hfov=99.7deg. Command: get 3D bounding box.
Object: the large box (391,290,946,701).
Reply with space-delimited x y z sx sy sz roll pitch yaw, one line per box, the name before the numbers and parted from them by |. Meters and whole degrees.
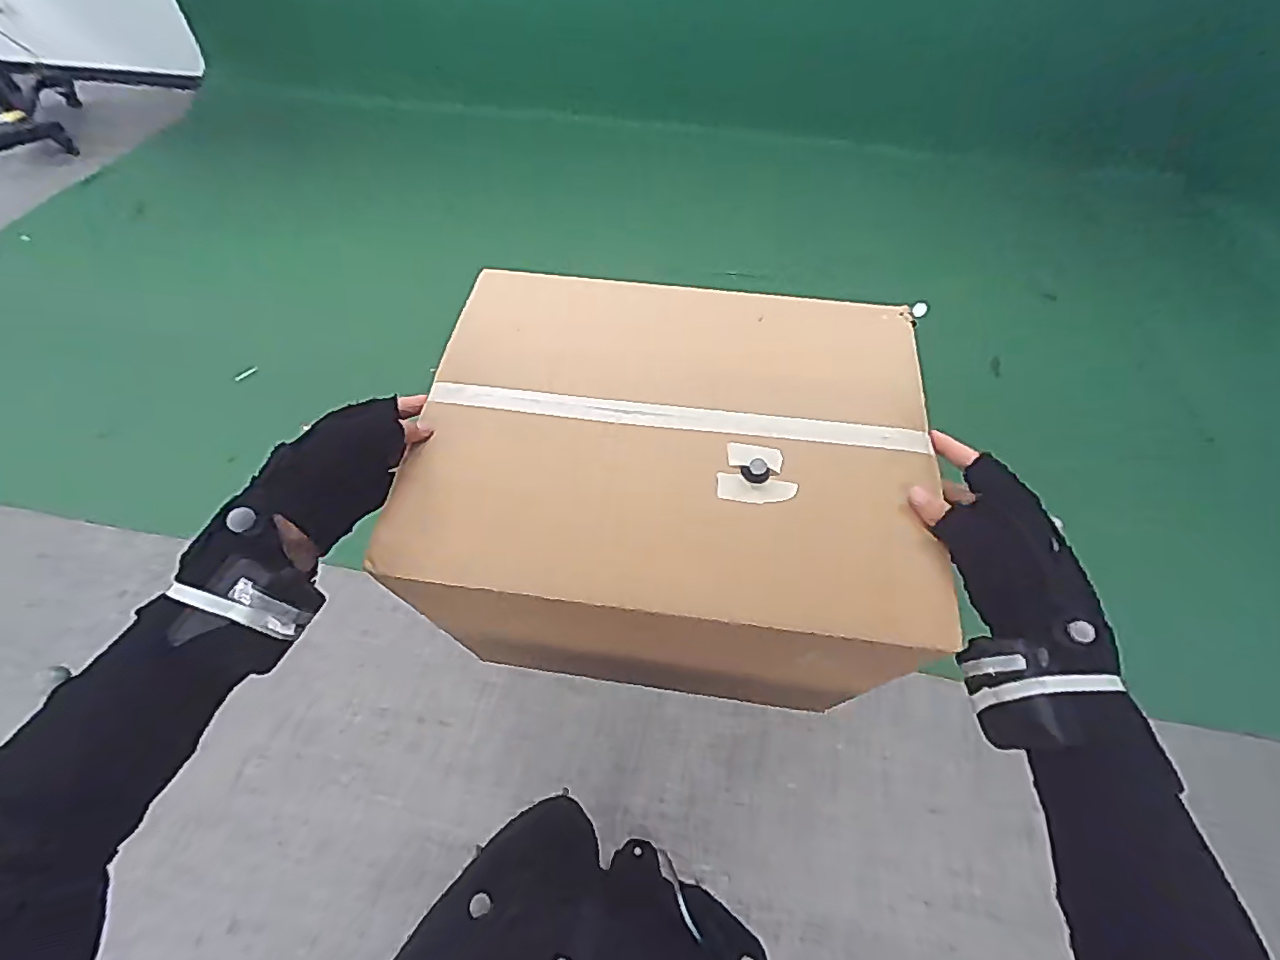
large box | 0.031 0.032 0.581 0.408 0.320 0.320 6 61 4
